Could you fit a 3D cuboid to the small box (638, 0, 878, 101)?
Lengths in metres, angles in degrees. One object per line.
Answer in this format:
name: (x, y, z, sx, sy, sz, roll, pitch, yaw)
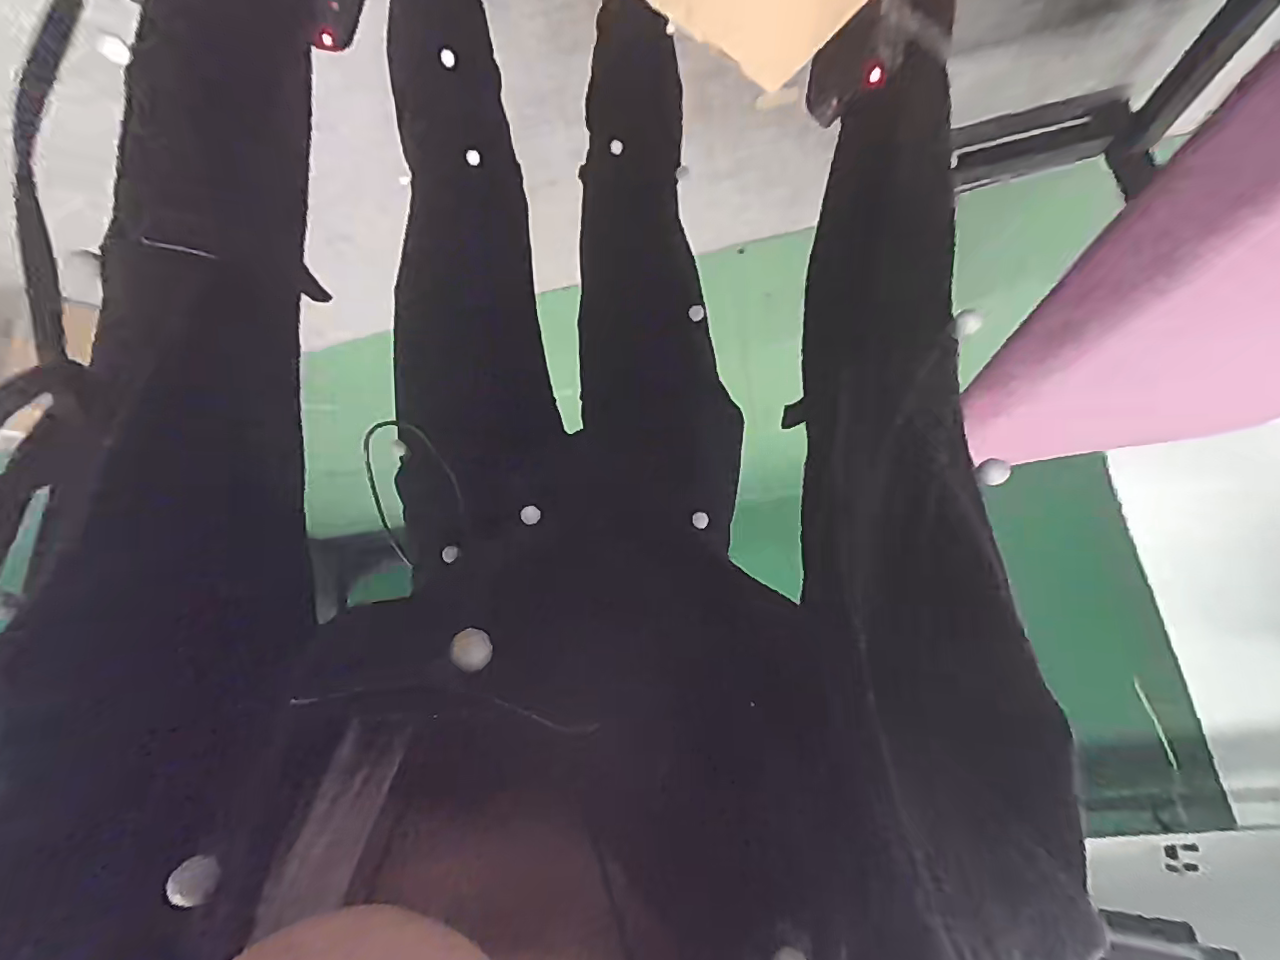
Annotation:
small box: (0.062, -0.342, 0.245, 0.168, 0.176, 0.179, 7, 162, -37)
